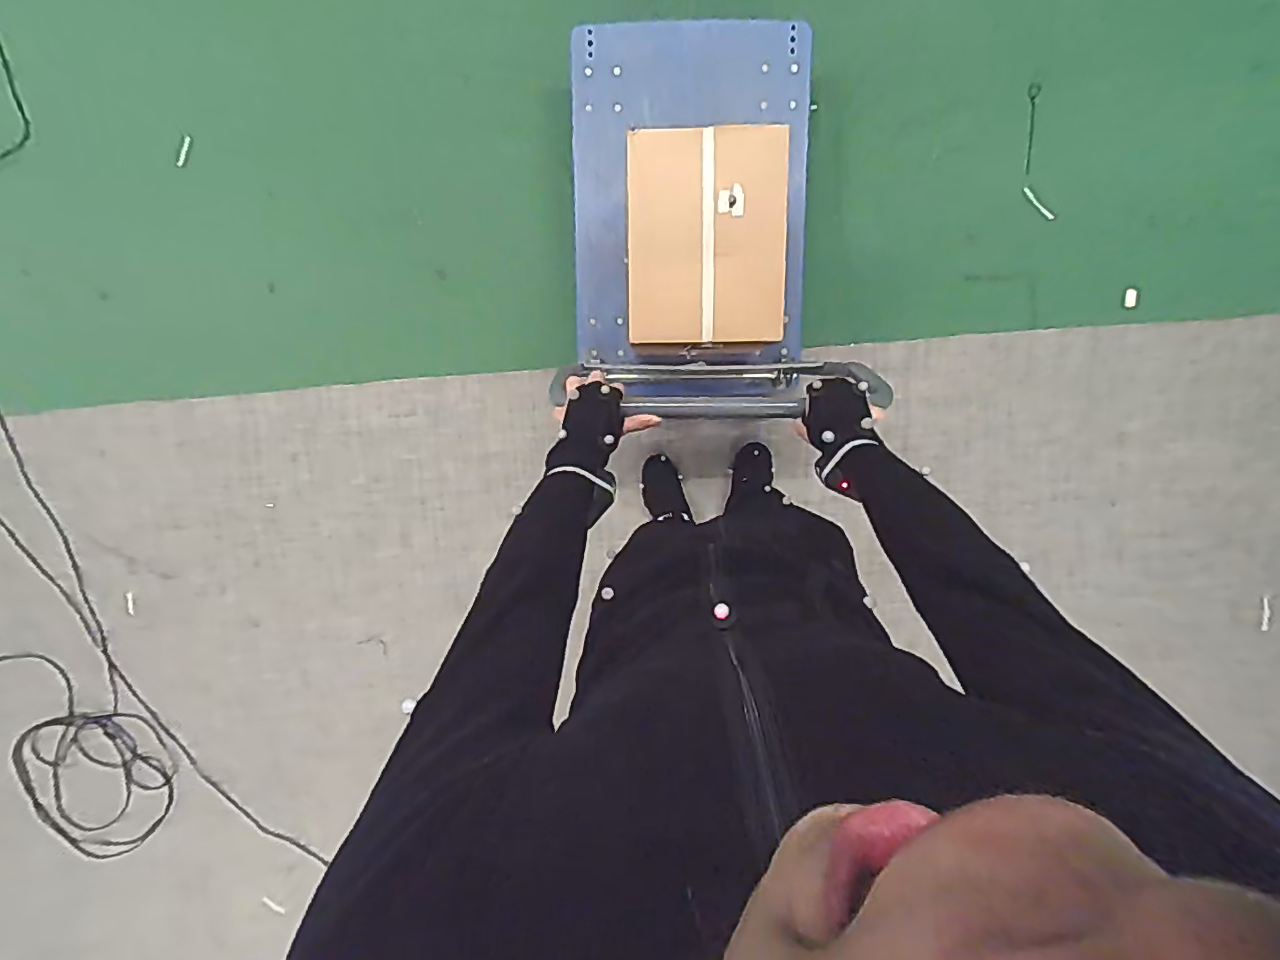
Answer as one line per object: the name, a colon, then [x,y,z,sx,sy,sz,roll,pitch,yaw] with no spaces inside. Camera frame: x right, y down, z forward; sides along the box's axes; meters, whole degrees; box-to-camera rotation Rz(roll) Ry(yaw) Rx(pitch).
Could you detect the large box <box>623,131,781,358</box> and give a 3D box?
large box: [0.131,-0.497,1.226,0.320,0.320,0.408,0,98,1]
